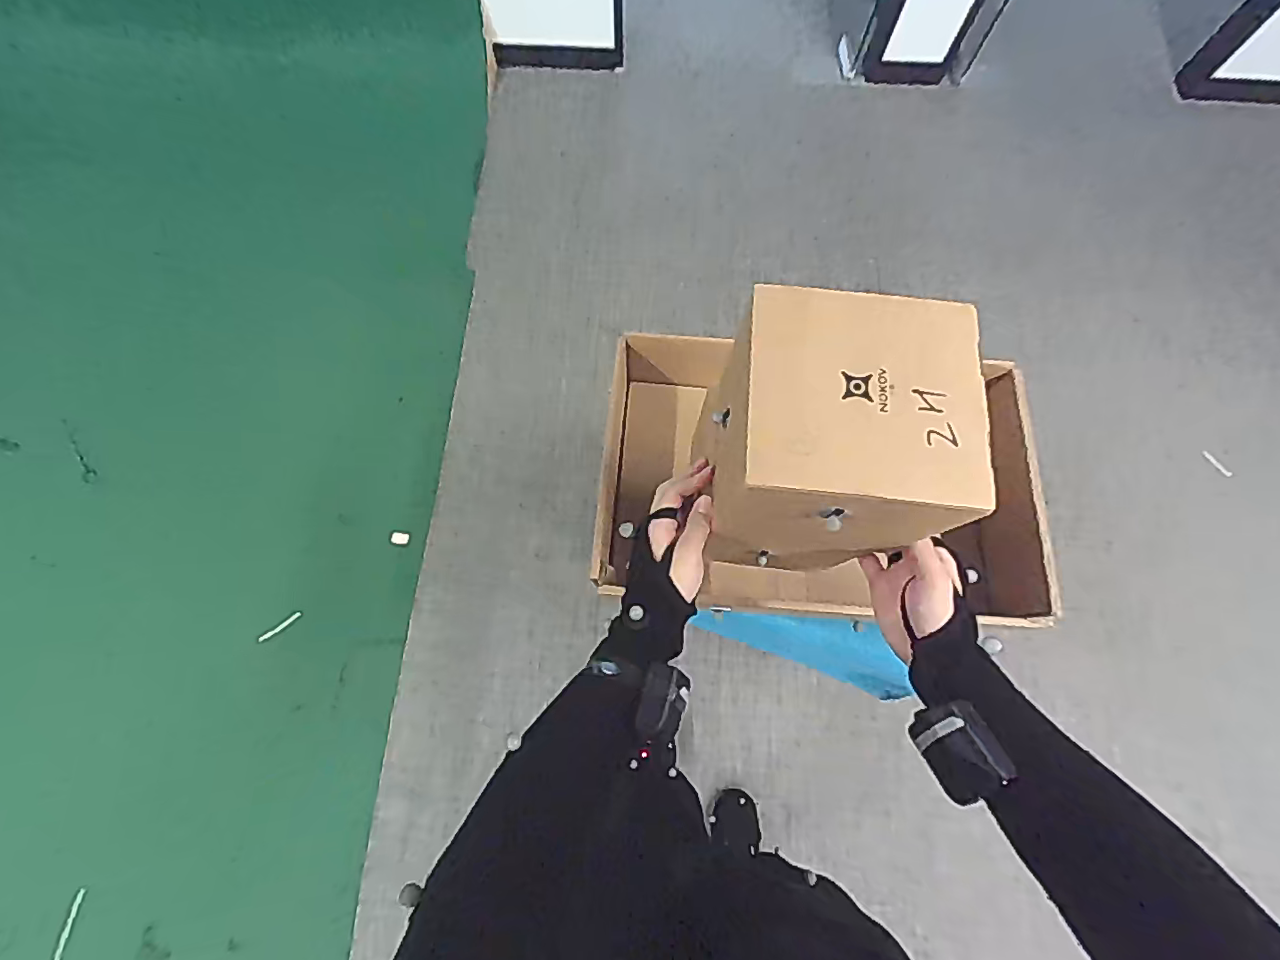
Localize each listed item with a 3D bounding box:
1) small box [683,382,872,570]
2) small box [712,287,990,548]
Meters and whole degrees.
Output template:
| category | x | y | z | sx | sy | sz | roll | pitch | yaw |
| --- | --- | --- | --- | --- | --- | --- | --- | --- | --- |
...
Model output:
| category | x | y | z | sx | sy | sz | roll | pitch | yaw |
| --- | --- | --- | --- | --- | --- | --- | --- | --- | --- |
| small box | 0.152 | 0.006 | 0.631 | 0.179 | 0.176 | 0.168 | 7 | 72 | 1 |
| small box | 0.163 | -0.041 | 0.474 | 0.179 | 0.176 | 0.168 | 7 | 72 | 0 |
